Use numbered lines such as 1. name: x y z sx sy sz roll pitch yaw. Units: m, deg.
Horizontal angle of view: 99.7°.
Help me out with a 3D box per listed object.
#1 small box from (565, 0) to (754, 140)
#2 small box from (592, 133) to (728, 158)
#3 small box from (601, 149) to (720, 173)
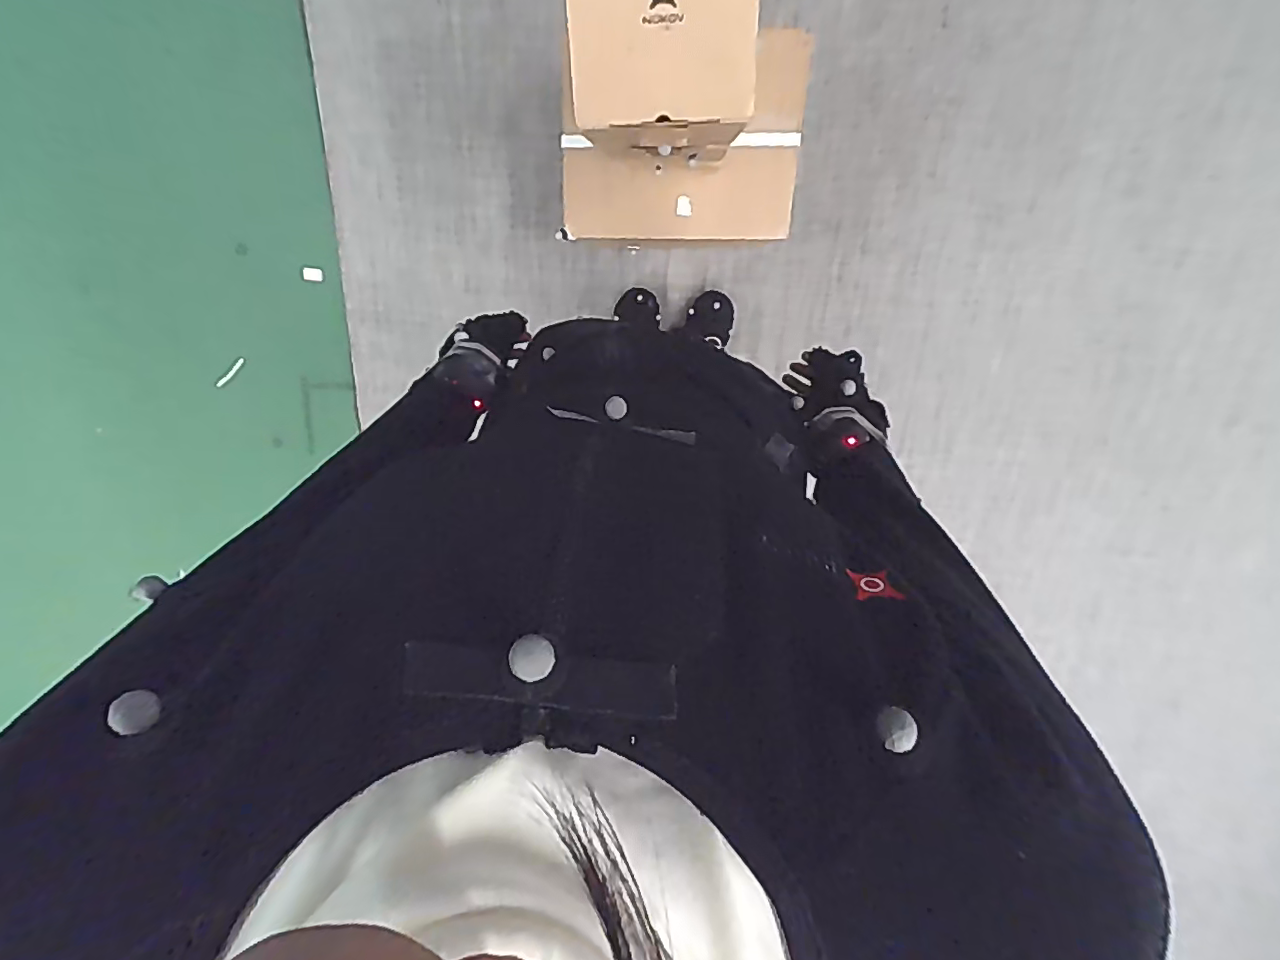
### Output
1. small box: 0.022 -0.445 0.534 0.168 0.176 0.179 0 117 4
2. small box: 0.030 -0.514 0.683 0.168 0.176 0.179 1 115 3
3. small box: 0.042 -0.578 0.828 0.179 0.176 0.168 9 115 1
